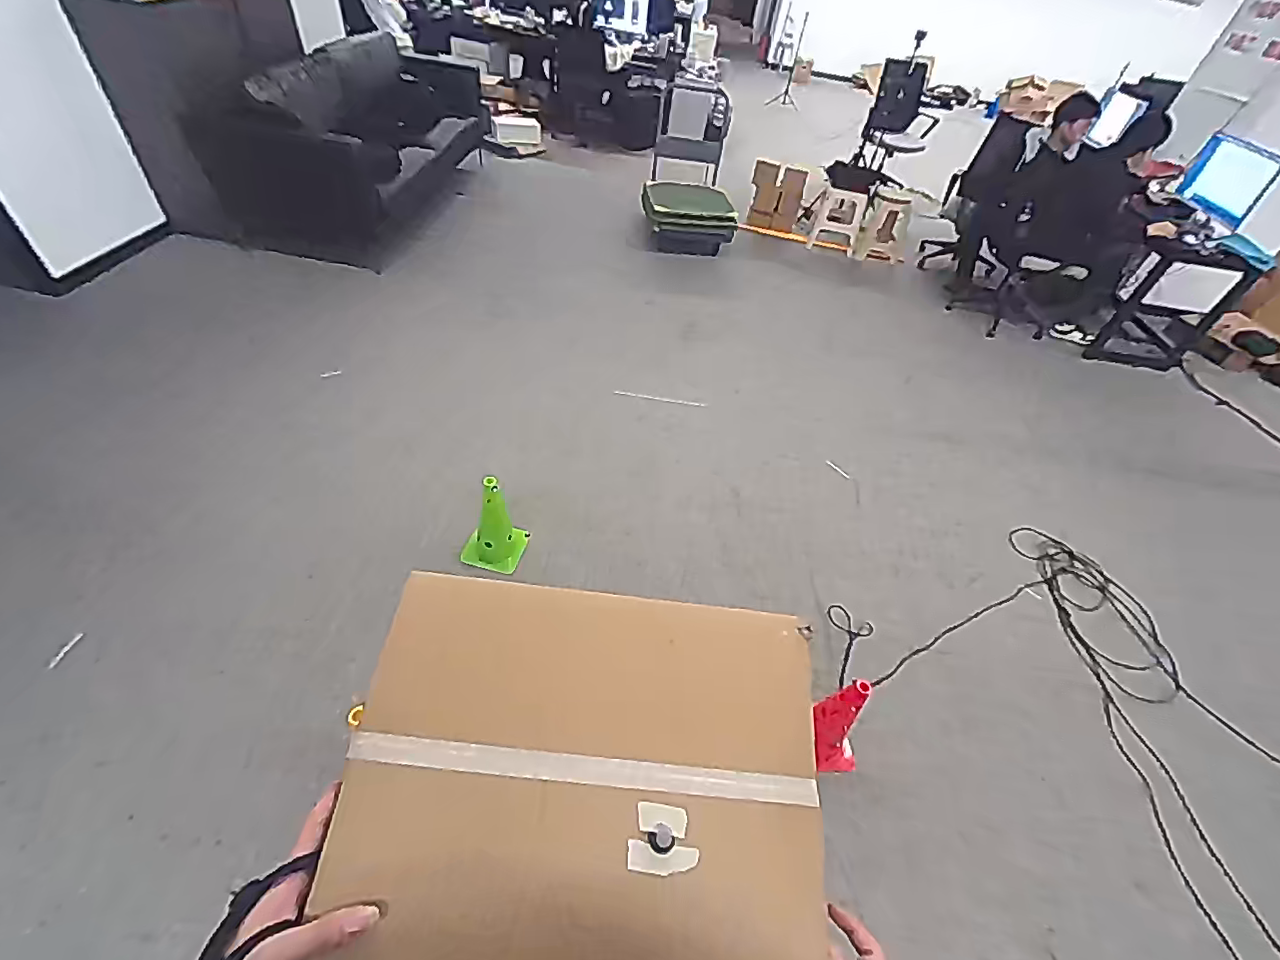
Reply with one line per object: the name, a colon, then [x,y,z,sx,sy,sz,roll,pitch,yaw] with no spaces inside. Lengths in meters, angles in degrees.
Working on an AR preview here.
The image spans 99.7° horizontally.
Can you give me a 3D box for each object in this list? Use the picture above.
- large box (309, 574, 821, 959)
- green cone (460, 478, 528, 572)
large box: [-0.057,0.322,0.615,0.408,0.320,0.320,7,62,-2]
green cone: [-0.511,0.122,1.848,0.200,0.368,0.202,14,47,4]
